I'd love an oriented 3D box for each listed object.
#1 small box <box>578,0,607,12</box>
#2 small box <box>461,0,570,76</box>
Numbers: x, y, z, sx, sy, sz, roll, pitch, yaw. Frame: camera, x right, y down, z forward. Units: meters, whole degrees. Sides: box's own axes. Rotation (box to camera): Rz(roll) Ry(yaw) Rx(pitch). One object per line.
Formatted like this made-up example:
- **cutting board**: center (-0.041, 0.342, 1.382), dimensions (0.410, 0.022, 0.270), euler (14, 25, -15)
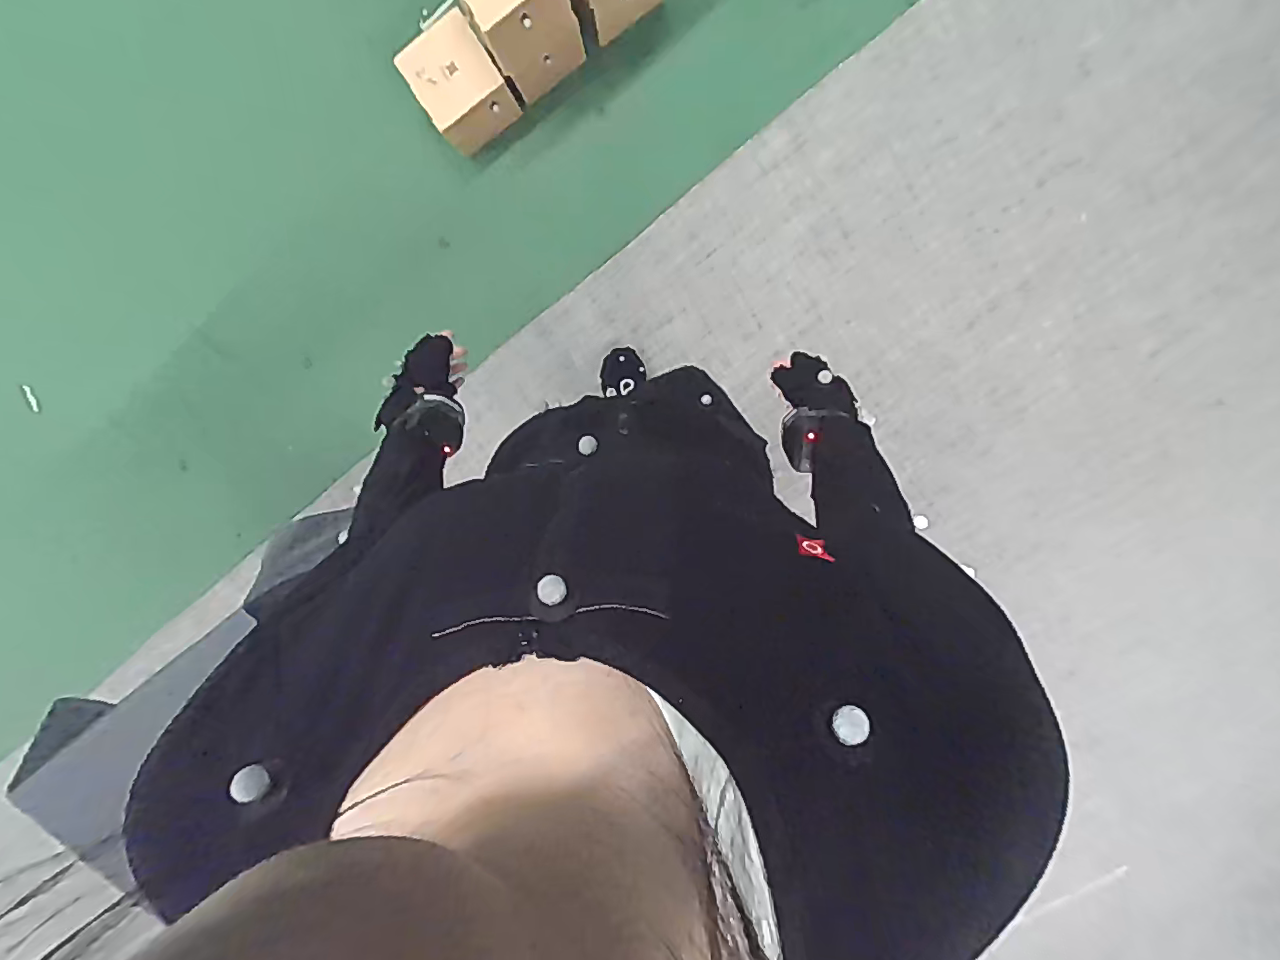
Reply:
- **small box**: center (-0.080, -1.034, 0.990), dimensions (0.179, 0.176, 0.168), euler (-36, 100, 9)
- **small box**: center (-0.247, -0.926, 1.024), dimensions (0.179, 0.176, 0.168), euler (-31, 102, 10)
